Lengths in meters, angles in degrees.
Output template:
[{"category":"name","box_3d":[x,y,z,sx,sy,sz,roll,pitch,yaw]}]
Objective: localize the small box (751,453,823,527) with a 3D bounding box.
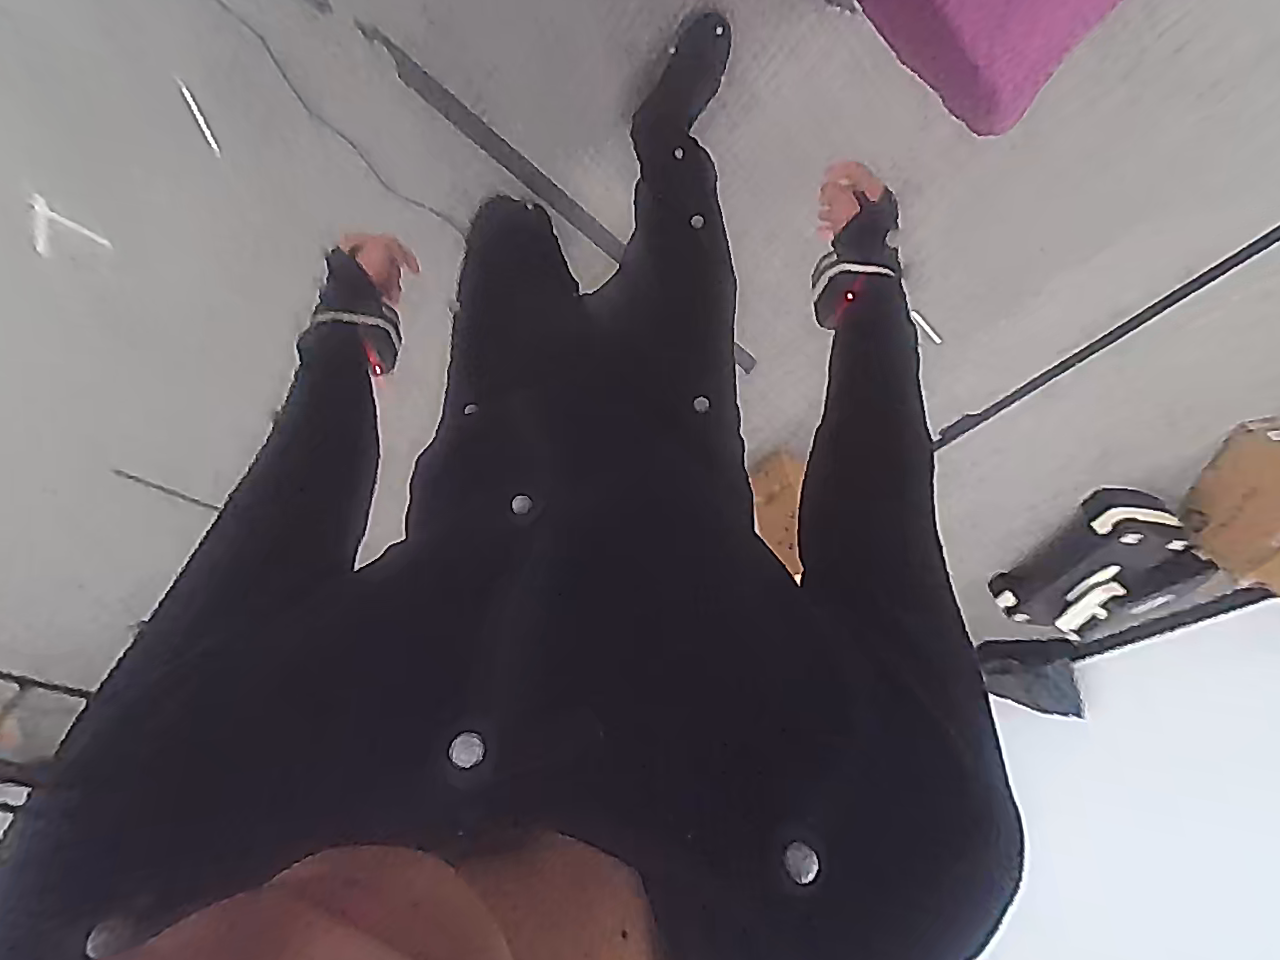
[{"category":"small box","box_3d":[0.517,0.032,1.921,0.179,0.176,0.168,28,130,-25]}]
